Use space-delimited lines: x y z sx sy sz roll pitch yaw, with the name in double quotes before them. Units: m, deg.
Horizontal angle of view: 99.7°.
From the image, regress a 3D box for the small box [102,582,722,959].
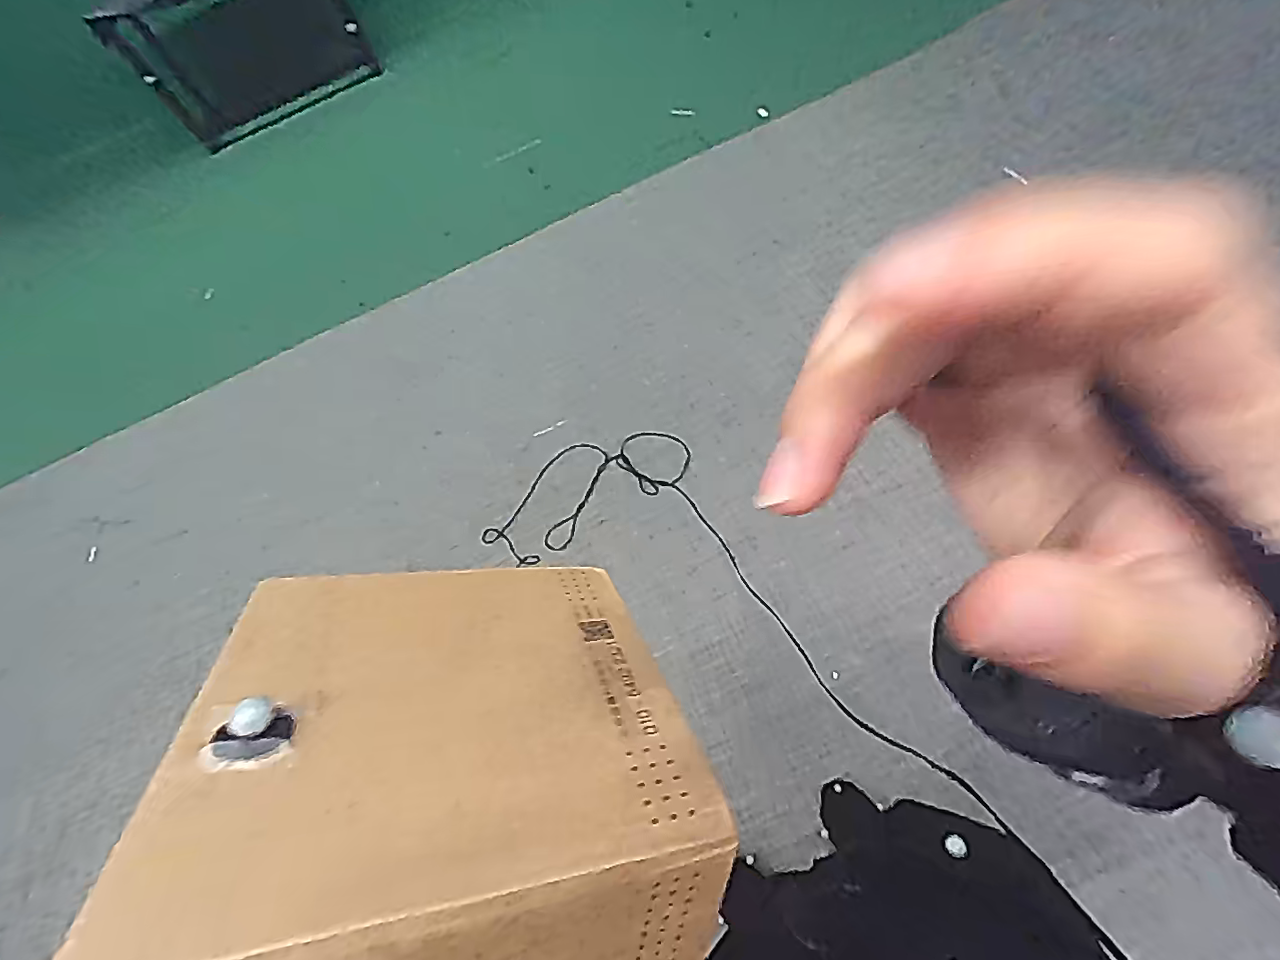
"small box" -0.080 0.163 0.243 0.176 0.179 0.168 1 21 -21
